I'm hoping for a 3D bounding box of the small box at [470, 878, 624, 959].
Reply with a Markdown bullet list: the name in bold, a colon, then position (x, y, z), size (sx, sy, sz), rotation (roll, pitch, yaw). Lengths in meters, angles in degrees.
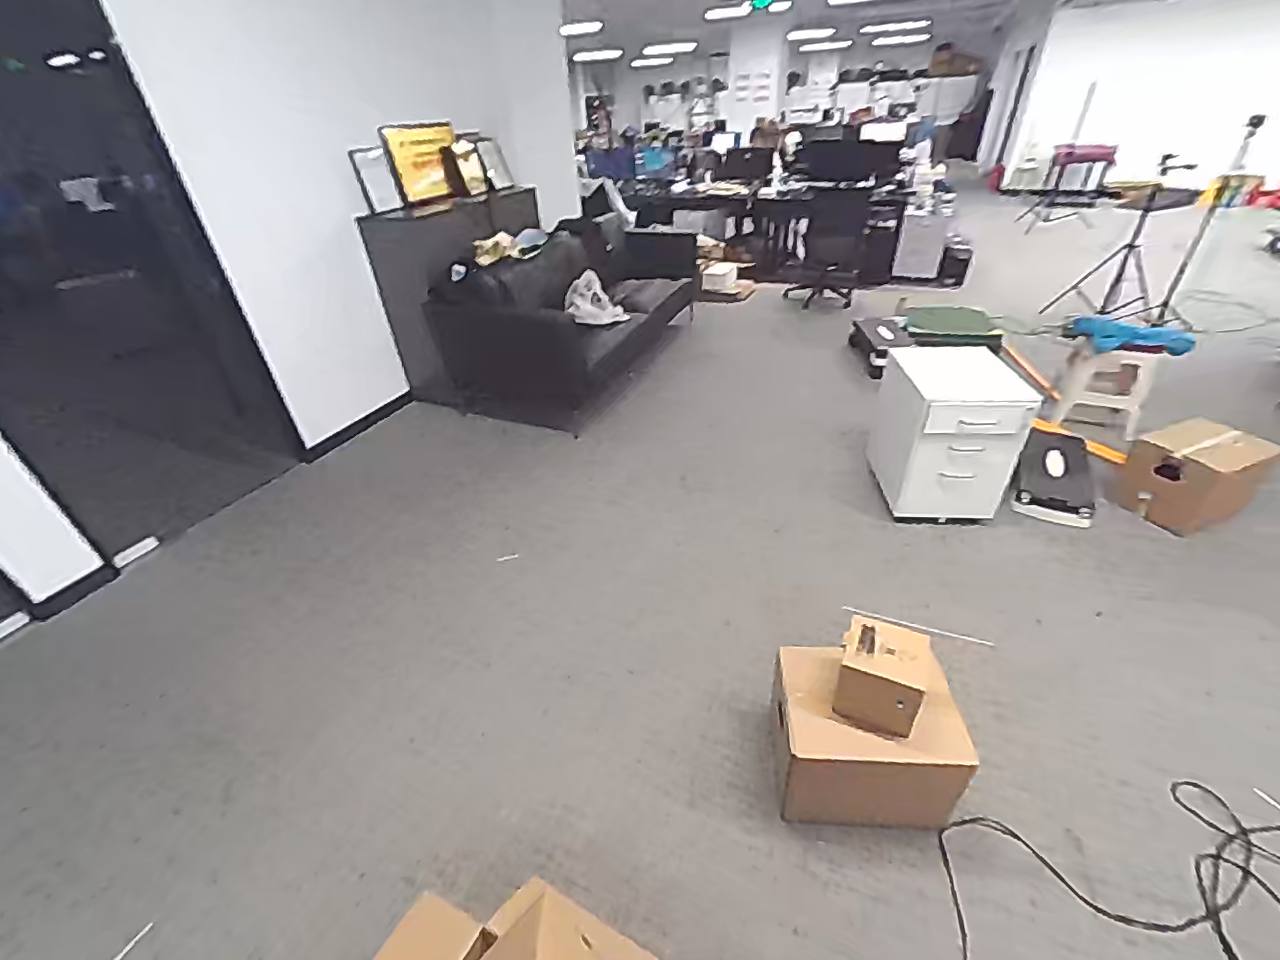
- **small box**: position (-0.091, 0.503, 0.465), size (0.179, 0.176, 0.168), rotation (-41, 79, -19)
